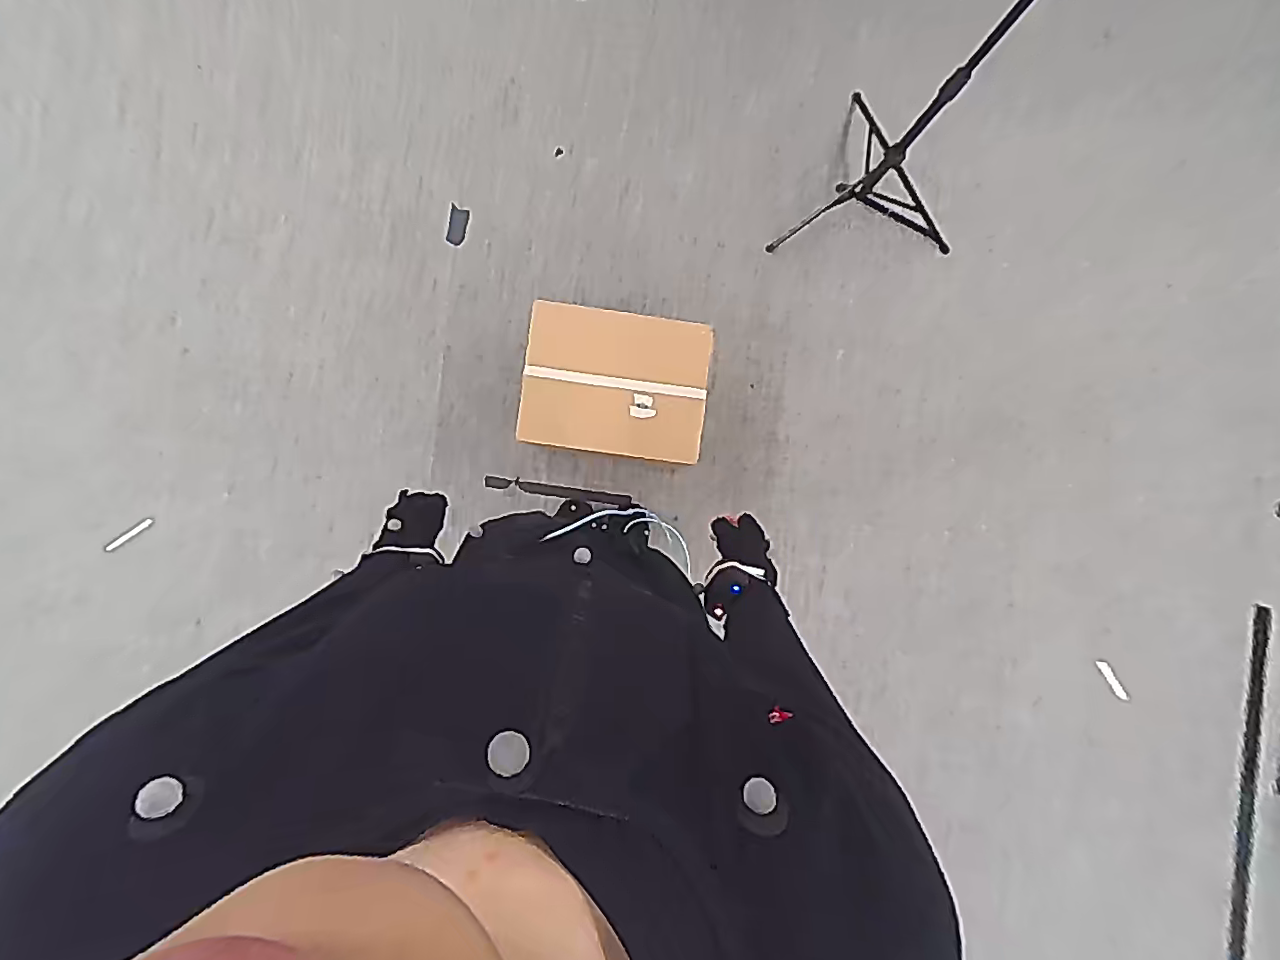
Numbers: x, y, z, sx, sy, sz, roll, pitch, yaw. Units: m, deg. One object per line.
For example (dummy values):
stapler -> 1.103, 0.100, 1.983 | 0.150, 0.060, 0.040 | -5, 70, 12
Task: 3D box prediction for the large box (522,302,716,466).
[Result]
large box -> -0.053, -0.215, 1.343 | 0.408, 0.320, 0.320 | 8, 90, -3
